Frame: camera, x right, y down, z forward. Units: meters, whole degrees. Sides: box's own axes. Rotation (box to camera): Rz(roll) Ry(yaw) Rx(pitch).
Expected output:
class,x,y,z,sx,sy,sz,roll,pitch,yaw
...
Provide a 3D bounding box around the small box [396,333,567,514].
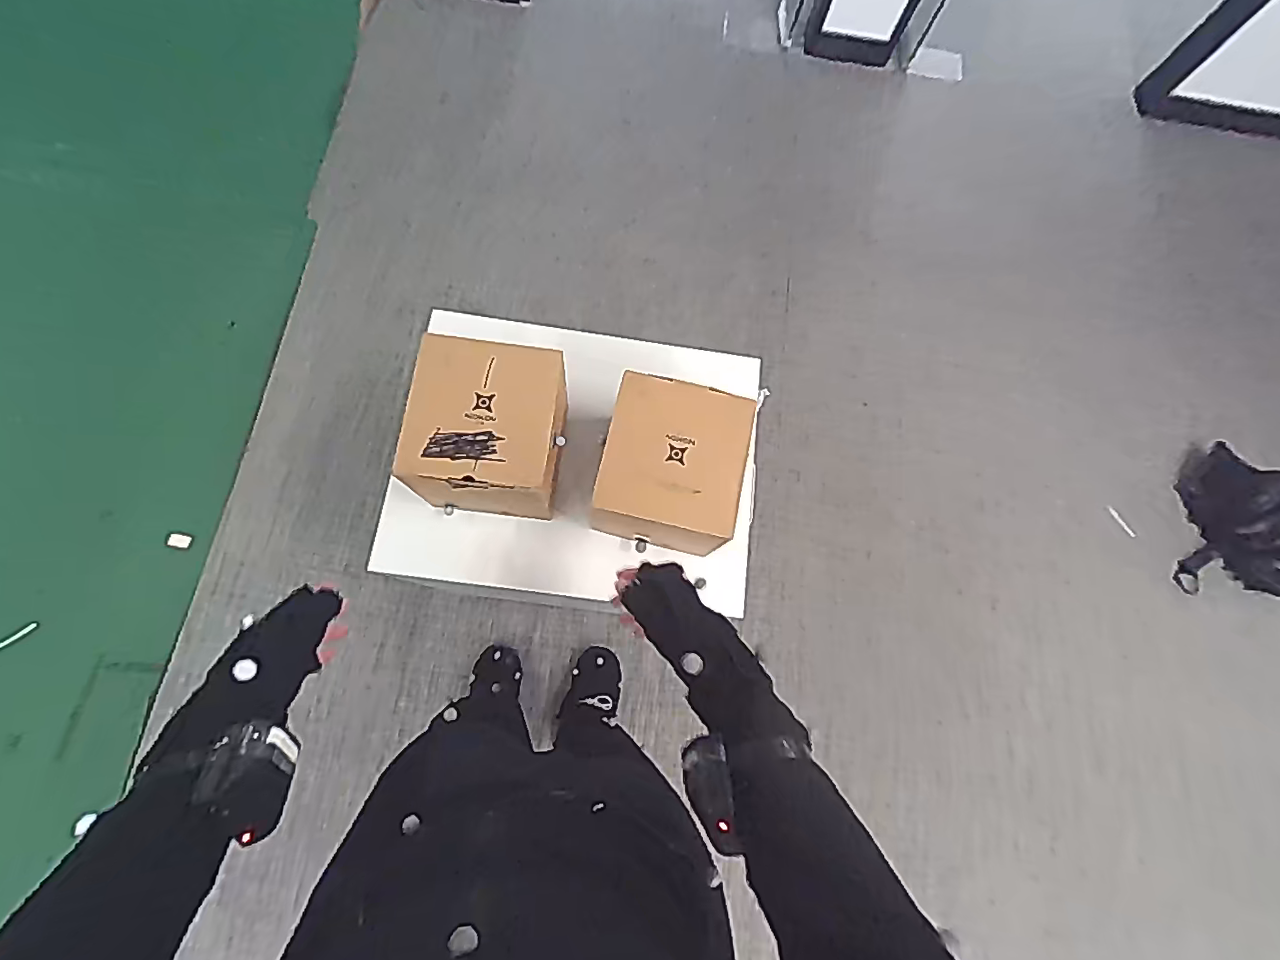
class,x,y,z,sx,sy,sz,roll,pitch,yaw
small box,-0.188,-0.061,0.700,0.168,0.176,0.179,7,73,-4

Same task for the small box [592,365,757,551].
class,x,y,z,sx,sy,sz,roll,pitch,yaw
small box,0.037,-0.018,0.692,0.168,0.176,0.179,12,75,-1
